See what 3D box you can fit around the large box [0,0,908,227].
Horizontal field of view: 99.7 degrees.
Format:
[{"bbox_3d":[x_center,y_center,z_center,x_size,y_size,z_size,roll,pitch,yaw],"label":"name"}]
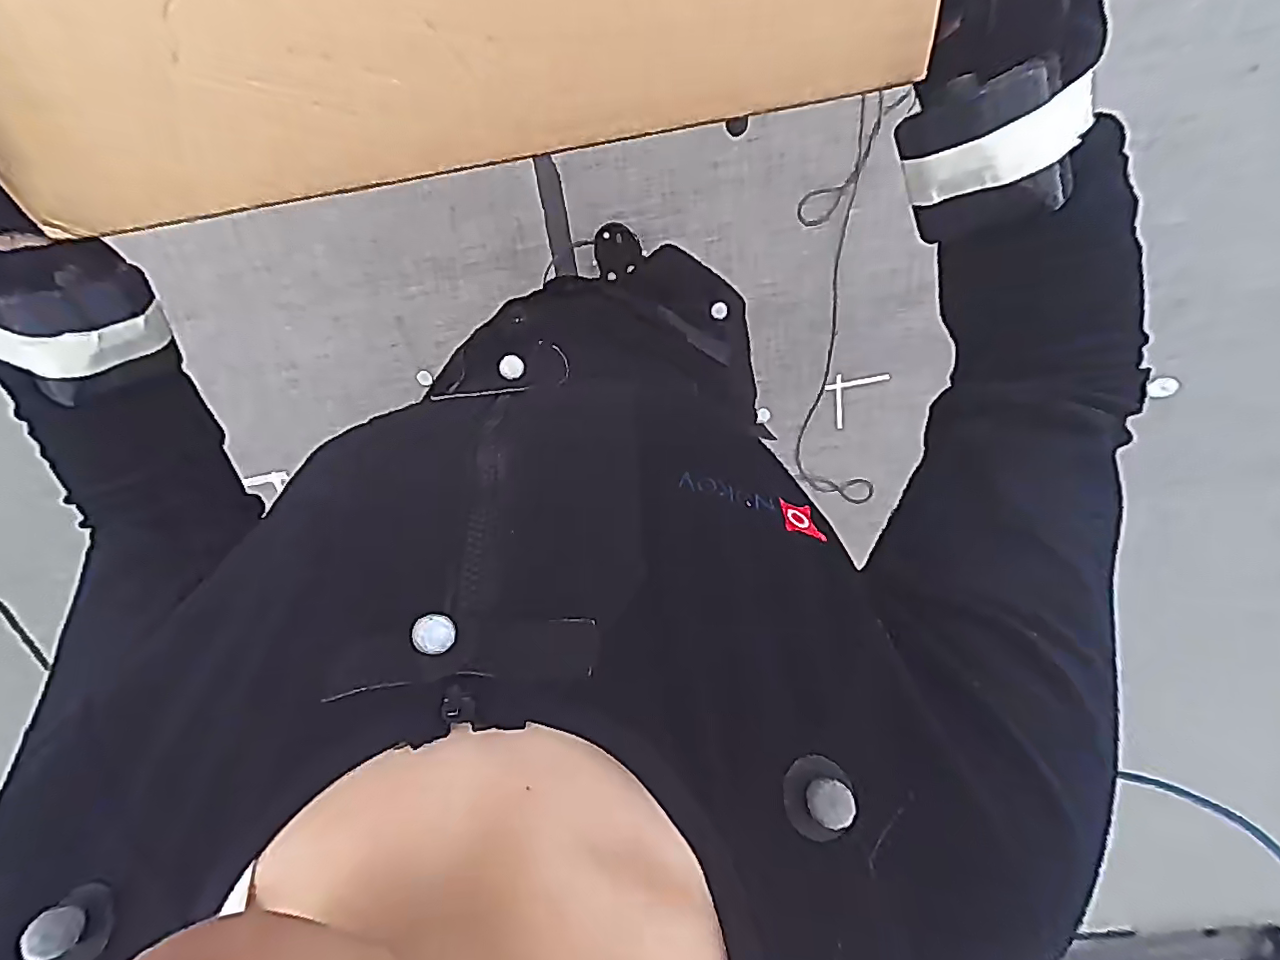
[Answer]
[{"bbox_3d":[-0.111,-0.364,0.262,0.408,0.320,0.320,-9,131,2],"label":"large box"}]
